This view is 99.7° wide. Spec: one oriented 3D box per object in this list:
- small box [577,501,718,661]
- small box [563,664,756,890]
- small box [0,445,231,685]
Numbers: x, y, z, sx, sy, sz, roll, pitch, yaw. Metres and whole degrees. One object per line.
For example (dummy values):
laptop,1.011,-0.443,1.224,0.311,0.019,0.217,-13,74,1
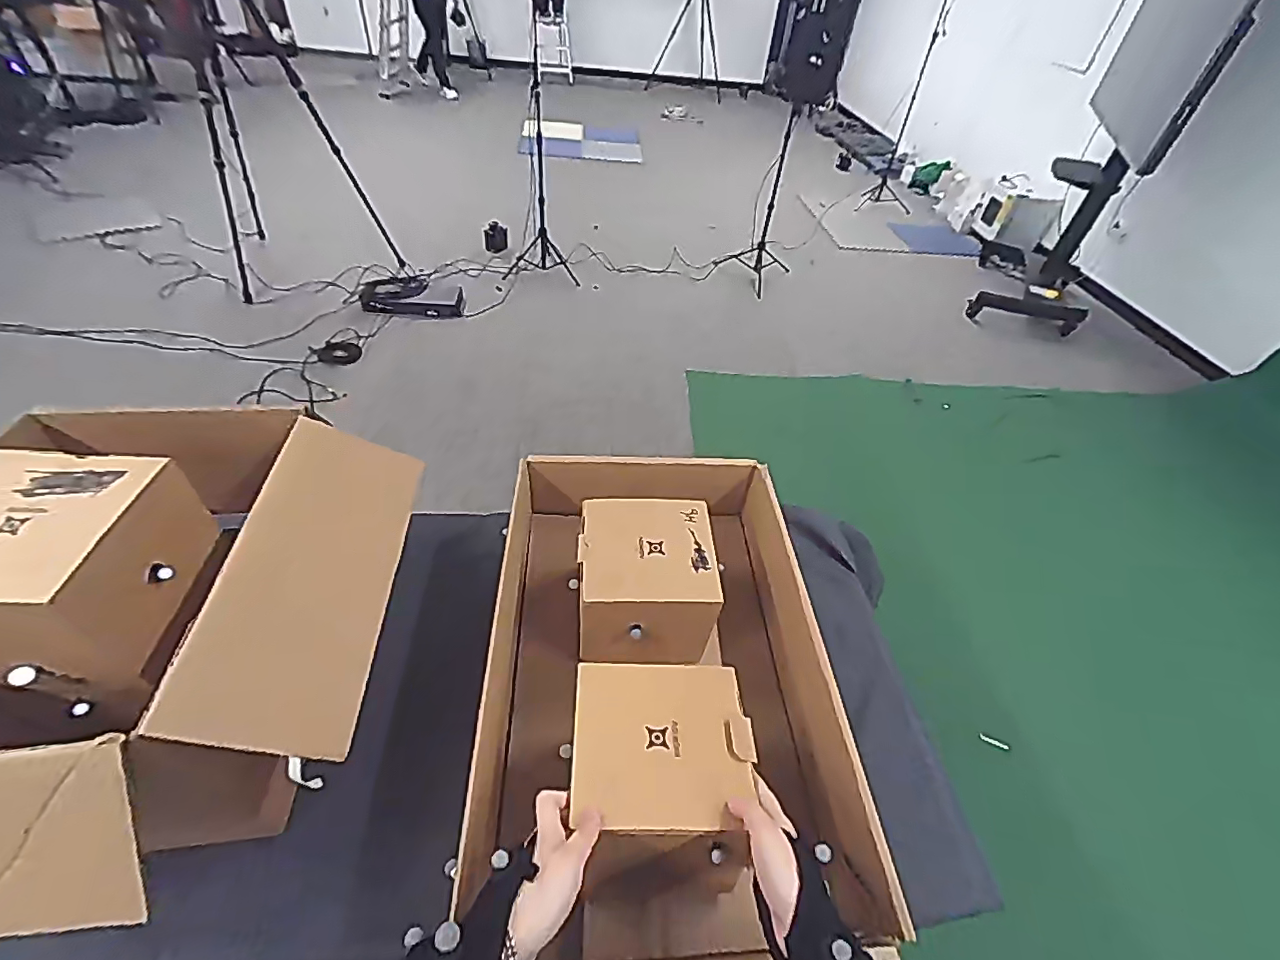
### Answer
small box,0.003,0.147,0.768,0.179,0.176,0.168,1,48,-5
small box,0.010,0.321,0.586,0.179,0.176,0.168,3,38,-5
small box,-0.565,0.088,0.552,0.168,0.176,0.179,3,47,-5
